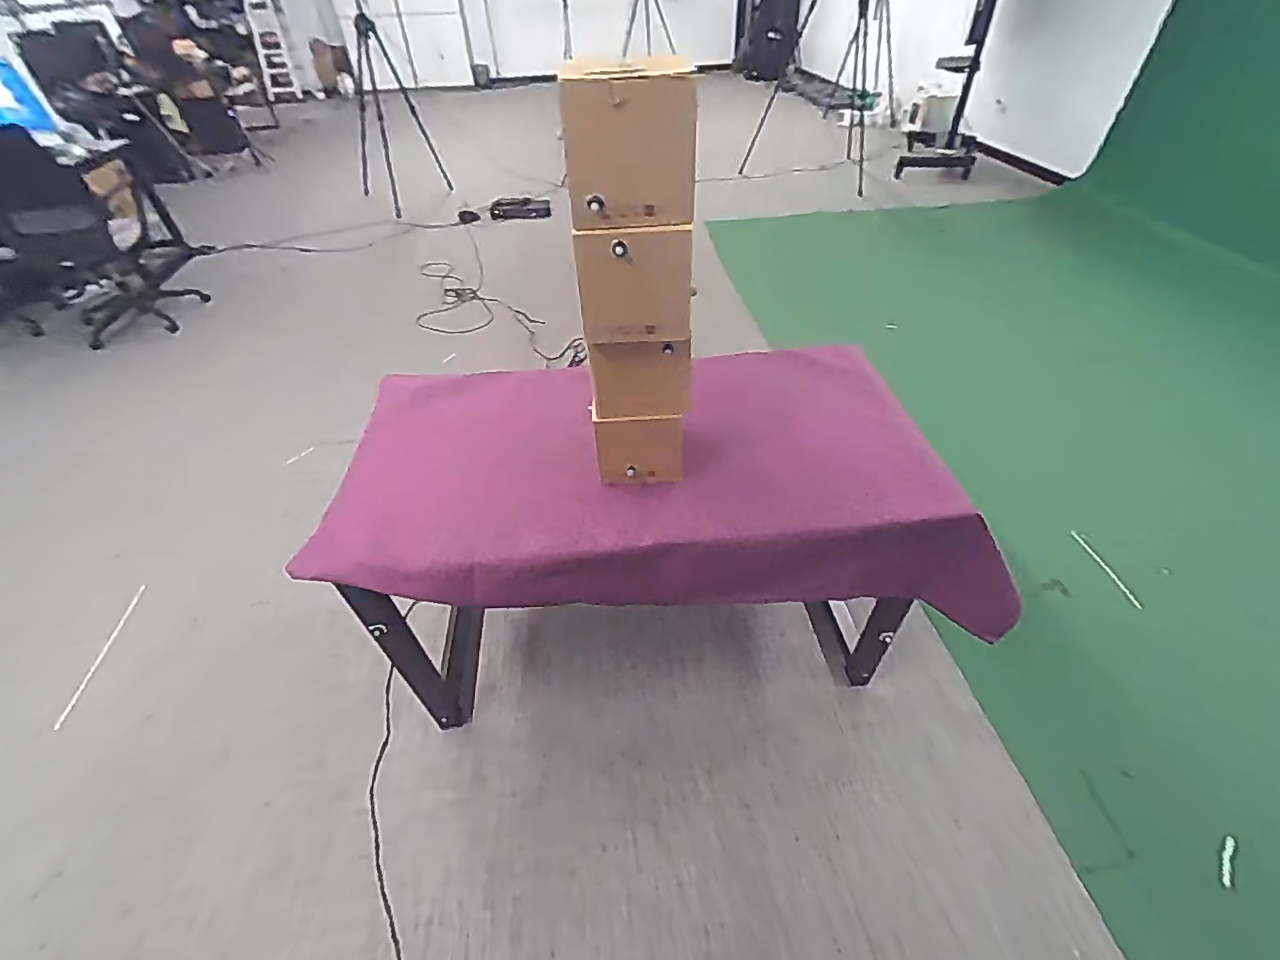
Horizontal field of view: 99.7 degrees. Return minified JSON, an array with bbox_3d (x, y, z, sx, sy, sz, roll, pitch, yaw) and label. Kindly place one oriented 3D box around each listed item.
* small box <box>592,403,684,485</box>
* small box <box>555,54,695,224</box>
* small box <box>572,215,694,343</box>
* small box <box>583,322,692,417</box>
[{"bbox_3d":[-0.002,-0.109,1.077,0.168,0.176,0.179,-3,45,1],"label":"small box"},{"bbox_3d":[-0.017,-0.457,0.732,0.168,0.176,0.179,-4,43,-2],"label":"small box"},{"bbox_3d":[-0.007,-0.328,0.836,0.168,0.176,0.179,-2,43,2],"label":"small box"},{"bbox_3d":[-0.002,-0.227,0.967,0.179,0.176,0.168,-4,44,0],"label":"small box"}]
